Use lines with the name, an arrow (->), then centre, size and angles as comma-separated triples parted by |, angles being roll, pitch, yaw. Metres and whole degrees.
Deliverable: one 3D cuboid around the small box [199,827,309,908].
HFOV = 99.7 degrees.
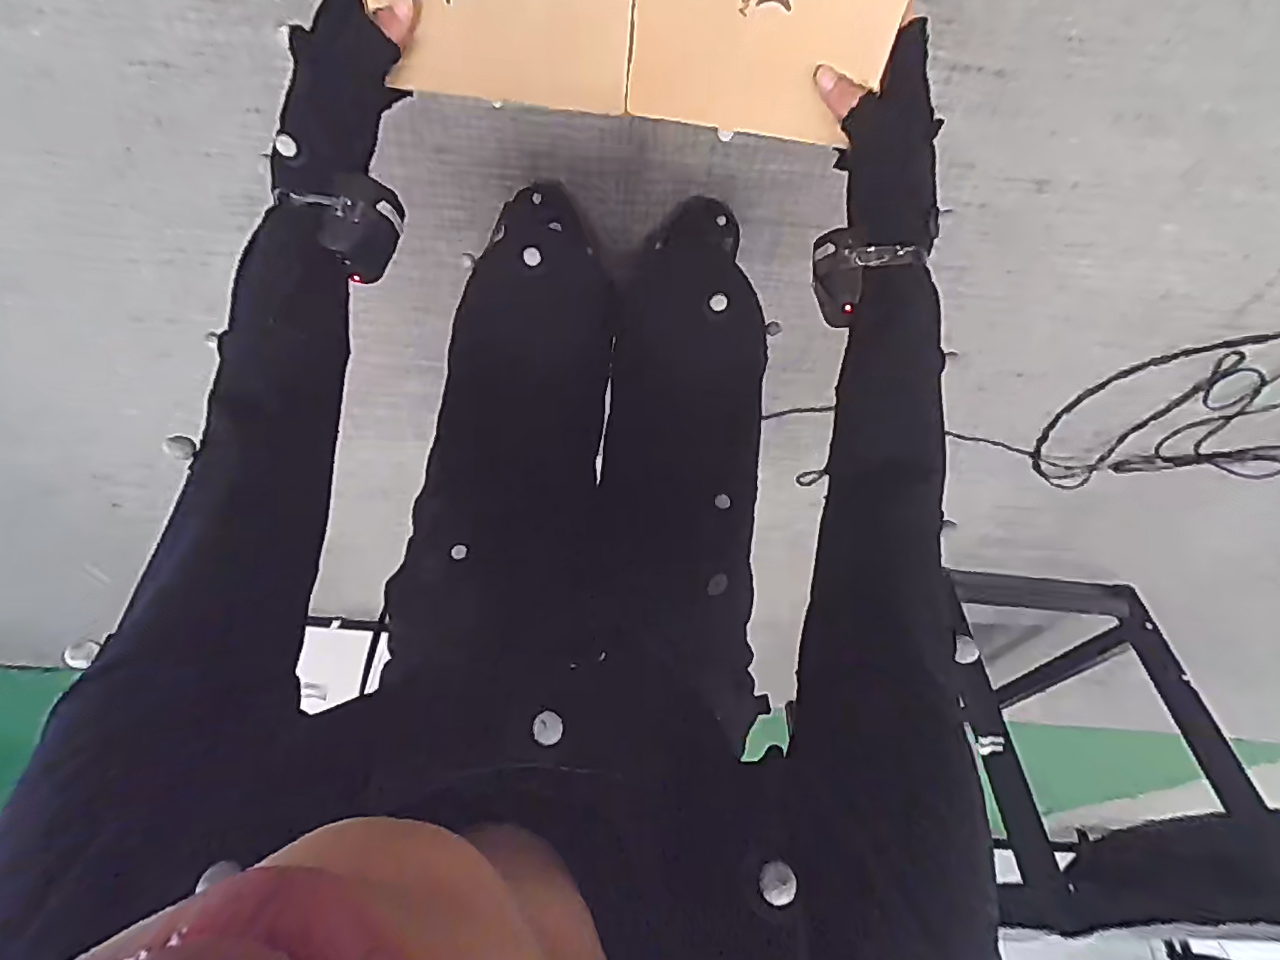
small box -> -1.066, 1.082, 1.511 | 0.179, 0.176, 0.168 | 11, 140, -9
